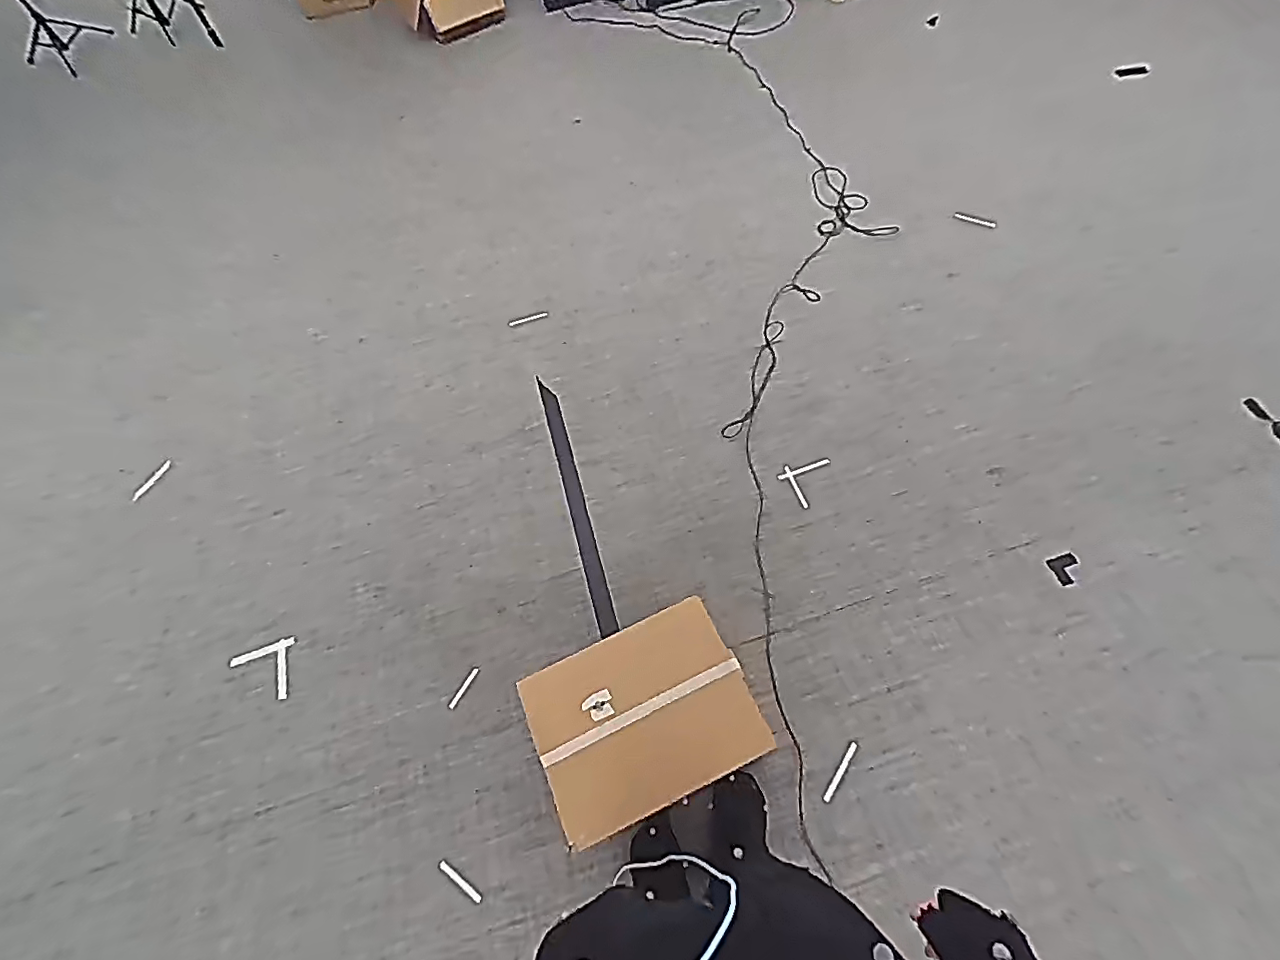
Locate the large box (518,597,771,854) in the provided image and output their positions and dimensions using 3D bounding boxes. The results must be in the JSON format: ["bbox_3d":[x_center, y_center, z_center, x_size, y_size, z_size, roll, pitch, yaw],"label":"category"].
[{"bbox_3d":[0.017,0.506,1.145,0.408,0.320,0.320,-25,61,-5],"label":"large box"}]
